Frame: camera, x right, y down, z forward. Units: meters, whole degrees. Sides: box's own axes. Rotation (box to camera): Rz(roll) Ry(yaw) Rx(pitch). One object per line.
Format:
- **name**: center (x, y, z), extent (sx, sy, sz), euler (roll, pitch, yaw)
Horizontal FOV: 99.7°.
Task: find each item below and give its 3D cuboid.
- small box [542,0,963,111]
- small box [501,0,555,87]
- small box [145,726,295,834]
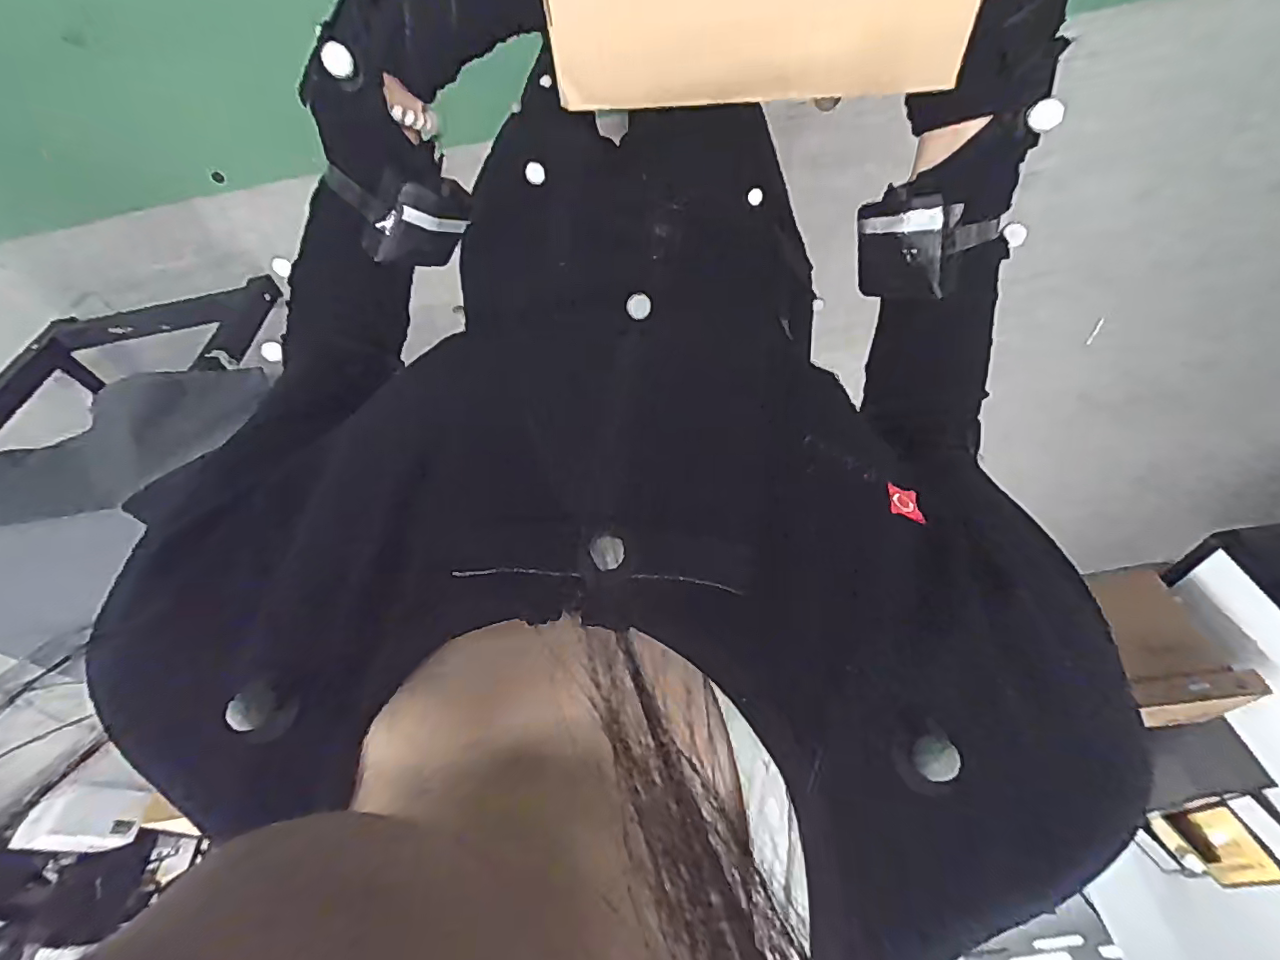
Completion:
- **small box**: center (0.047, -0.289, 0.236), extent (0.179, 0.176, 0.168), euler (1, 142, 6)
- **small box**: center (-0.125, -0.835, 0.961), extent (0.179, 0.176, 0.168), euler (37, 146, -16)
- **small box**: center (-0.910, 0.660, 1.193), extent (0.179, 0.176, 0.168), euler (-11, 140, 3)
